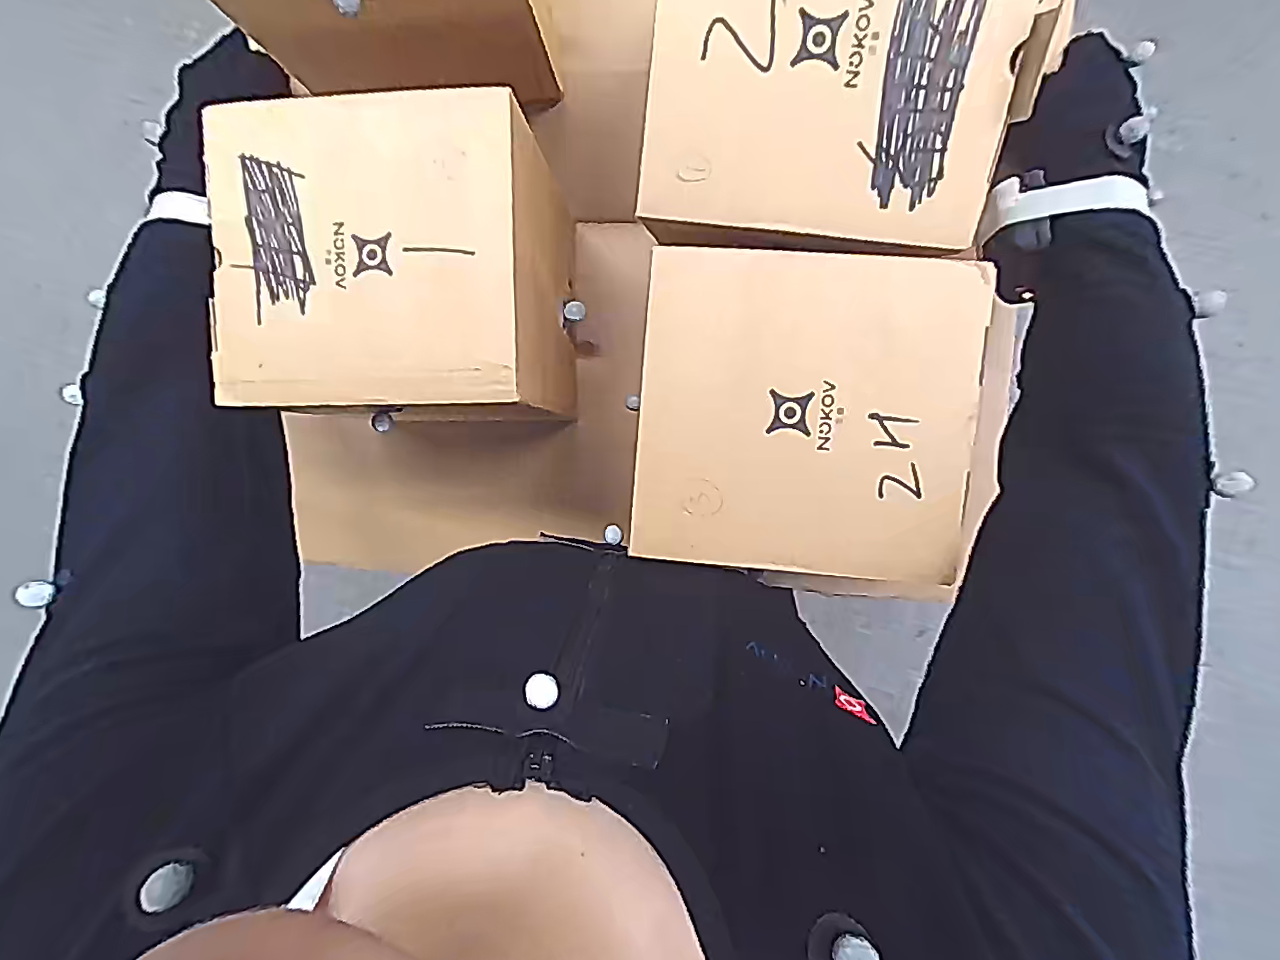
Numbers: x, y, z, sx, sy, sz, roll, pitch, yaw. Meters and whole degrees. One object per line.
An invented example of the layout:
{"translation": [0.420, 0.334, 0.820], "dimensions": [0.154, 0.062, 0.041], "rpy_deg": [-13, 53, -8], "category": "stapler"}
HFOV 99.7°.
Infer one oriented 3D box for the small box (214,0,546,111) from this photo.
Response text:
{"translation": [-0.162, -0.363, 0.327], "dimensions": [0.179, 0.176, 0.168], "rpy_deg": [-5, 95, 6], "category": "small box"}
